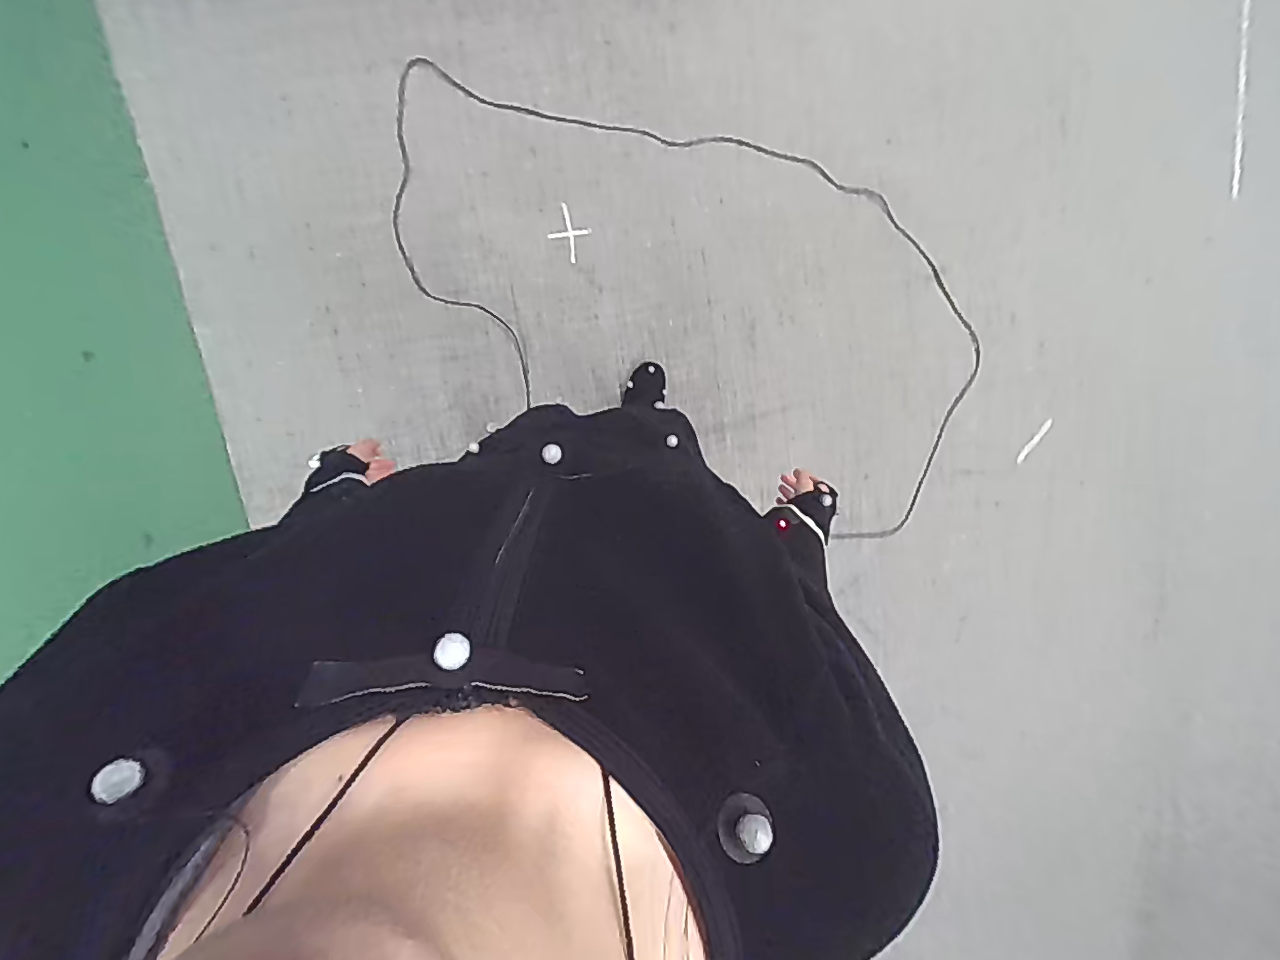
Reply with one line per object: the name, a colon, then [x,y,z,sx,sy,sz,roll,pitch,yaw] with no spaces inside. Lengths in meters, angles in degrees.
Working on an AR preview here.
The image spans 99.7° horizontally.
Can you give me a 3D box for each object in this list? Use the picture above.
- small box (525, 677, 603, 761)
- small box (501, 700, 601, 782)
small box: [-0.202,0.674,1.506,0.179,0.176,0.168,-13,100,2]
small box: [-0.212,0.690,1.344,0.179,0.176,0.168,-30,99,4]
